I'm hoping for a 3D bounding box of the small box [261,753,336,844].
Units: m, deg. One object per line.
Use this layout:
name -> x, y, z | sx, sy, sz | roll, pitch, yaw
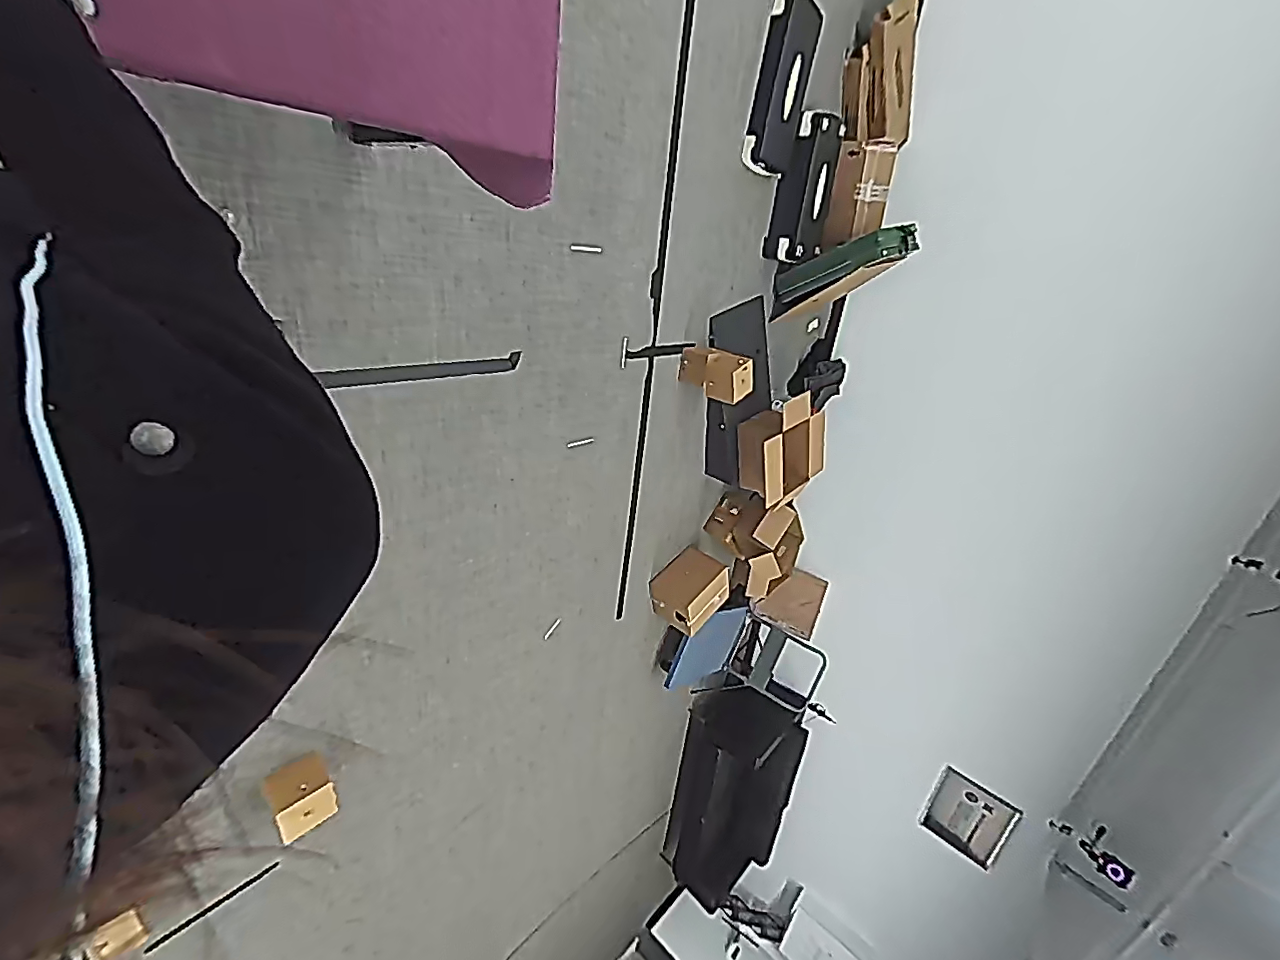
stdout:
small box -> -1.200, 1.109, 1.893 | 0.179, 0.176, 0.168 | -23, 128, -45
